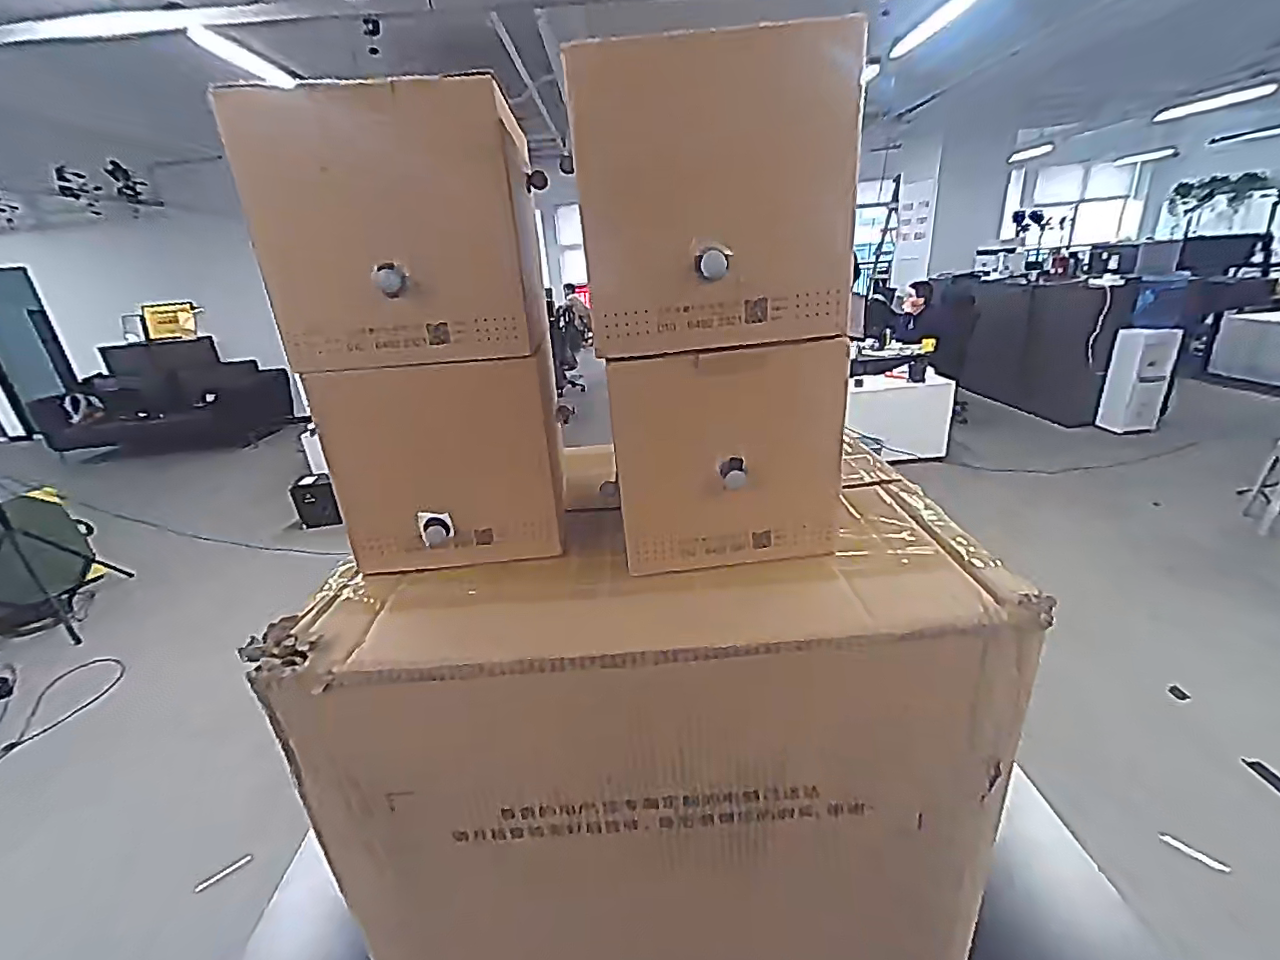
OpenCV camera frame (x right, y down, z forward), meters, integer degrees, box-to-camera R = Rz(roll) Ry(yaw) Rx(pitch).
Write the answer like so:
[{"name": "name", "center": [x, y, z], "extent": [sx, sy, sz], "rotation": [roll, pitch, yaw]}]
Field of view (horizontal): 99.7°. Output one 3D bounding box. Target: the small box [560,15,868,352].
[{"name": "small box", "center": [0.042, -0.191, 0.390], "extent": [0.168, 0.176, 0.179], "rotation": [-6, 23, -1]}]

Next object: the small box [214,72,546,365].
[{"name": "small box", "center": [-0.169, -0.187, 0.421], "extent": [0.168, 0.176, 0.179], "rotation": [-5, 22, -3]}]

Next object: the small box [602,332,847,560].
[{"name": "small box", "center": [0.058, -0.043, 0.459], "extent": [0.168, 0.176, 0.179], "rotation": [-6, 24, -2]}]

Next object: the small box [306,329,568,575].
[{"name": "small box", "center": [-0.157, -0.036, 0.485], "extent": [0.168, 0.176, 0.179], "rotation": [-6, 23, -5]}]
